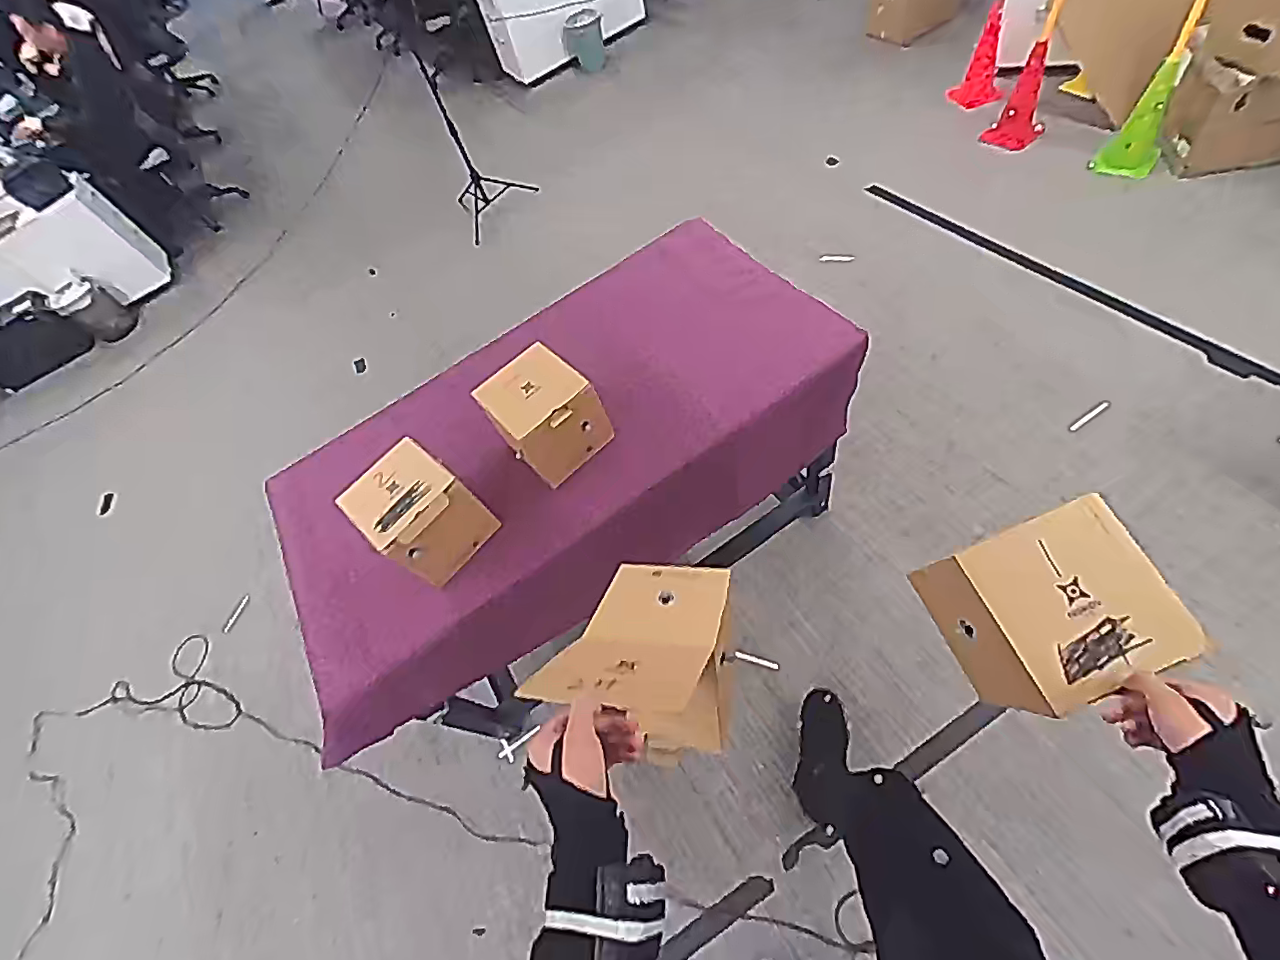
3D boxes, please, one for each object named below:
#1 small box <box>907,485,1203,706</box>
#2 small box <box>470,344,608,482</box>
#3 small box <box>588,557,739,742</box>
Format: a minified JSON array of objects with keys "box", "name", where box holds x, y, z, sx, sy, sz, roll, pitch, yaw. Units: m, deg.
[{"box":[0.445,0.133,0.619,0.168,0.176,0.179,-25,71,1],"name":"small box"},{"box":[-0.186,-0.120,1.042,0.168,0.176,0.179,-42,58,-12],"name":"small box"},{"box":[0.043,0.222,0.746,0.168,0.179,0.176,0,25,18],"name":"small box"}]
